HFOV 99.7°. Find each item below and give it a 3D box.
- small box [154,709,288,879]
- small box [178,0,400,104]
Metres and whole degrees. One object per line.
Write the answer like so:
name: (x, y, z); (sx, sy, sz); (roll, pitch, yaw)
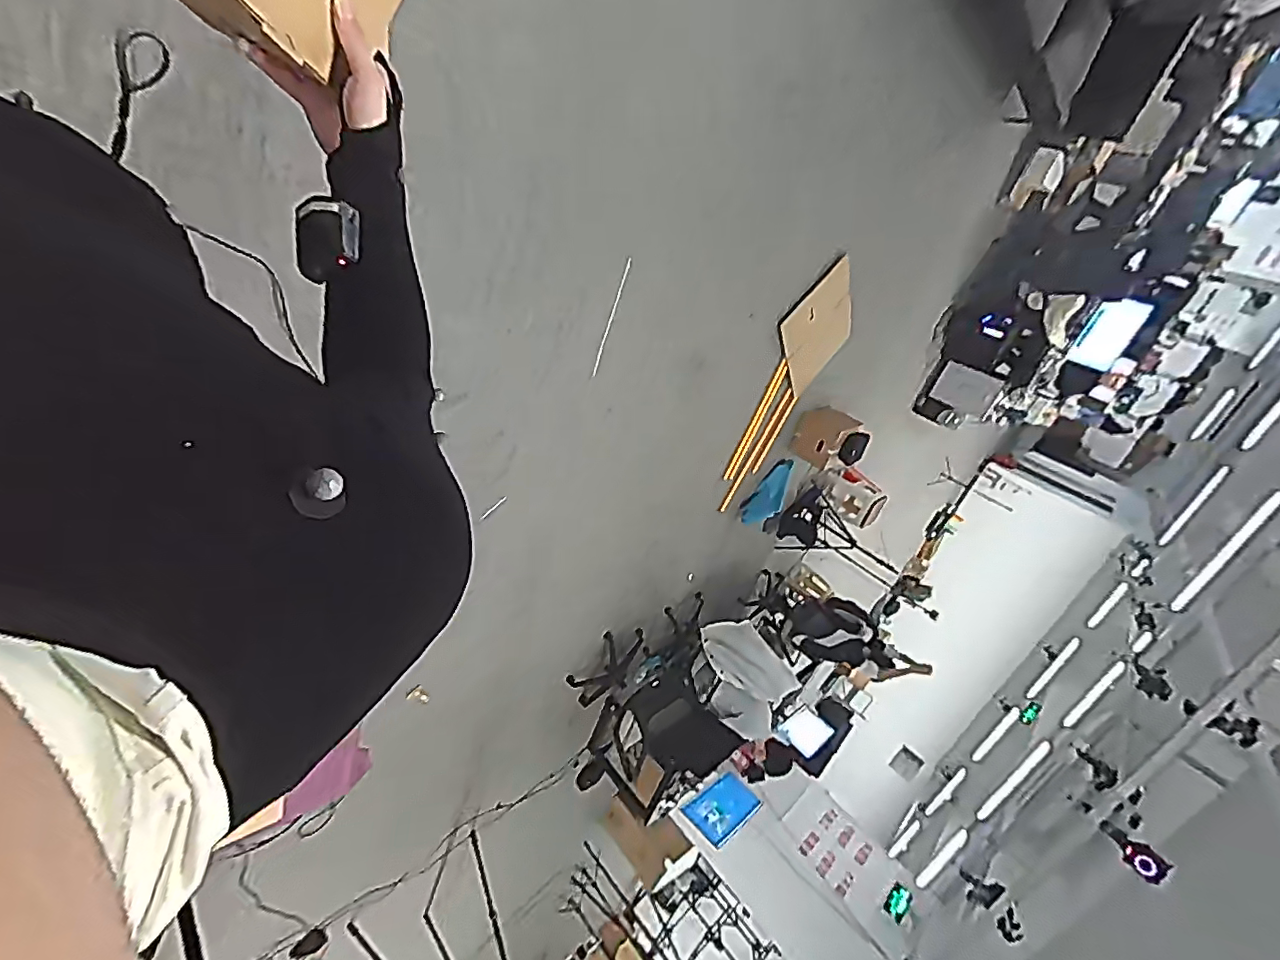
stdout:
small box: (-0.771, 0.564, 0.994); (0.168, 0.176, 0.179); (-7, 125, -47)
small box: (-0.319, -0.469, 0.435); (0.179, 0.176, 0.168); (-60, 176, 5)
